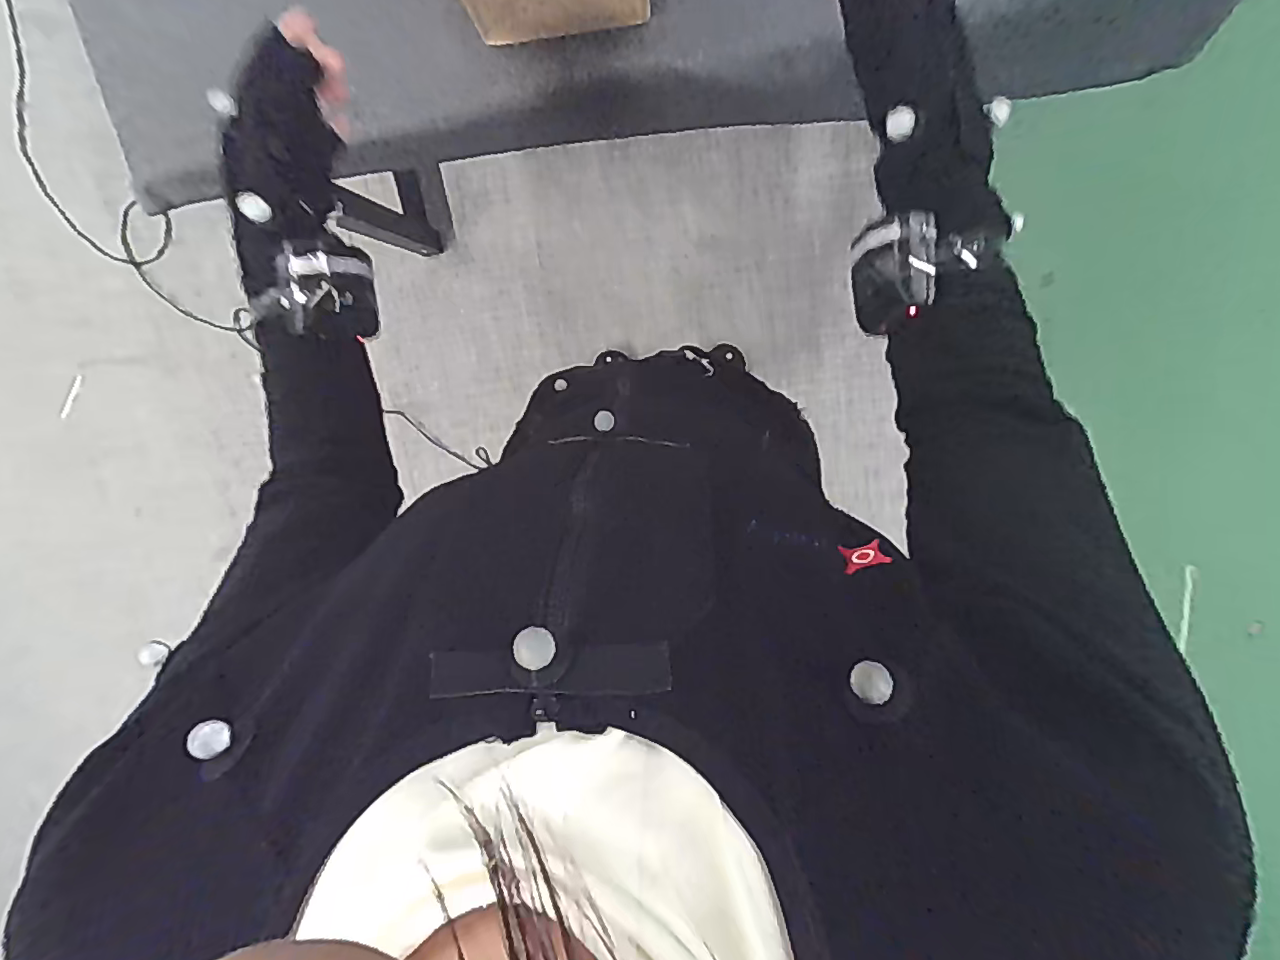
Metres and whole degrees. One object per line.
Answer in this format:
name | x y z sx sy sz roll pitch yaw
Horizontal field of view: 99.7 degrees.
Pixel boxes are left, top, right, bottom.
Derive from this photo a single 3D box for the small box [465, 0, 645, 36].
small box | -0.091 -0.531 0.472 0.179 0.176 0.168 -4 103 4
